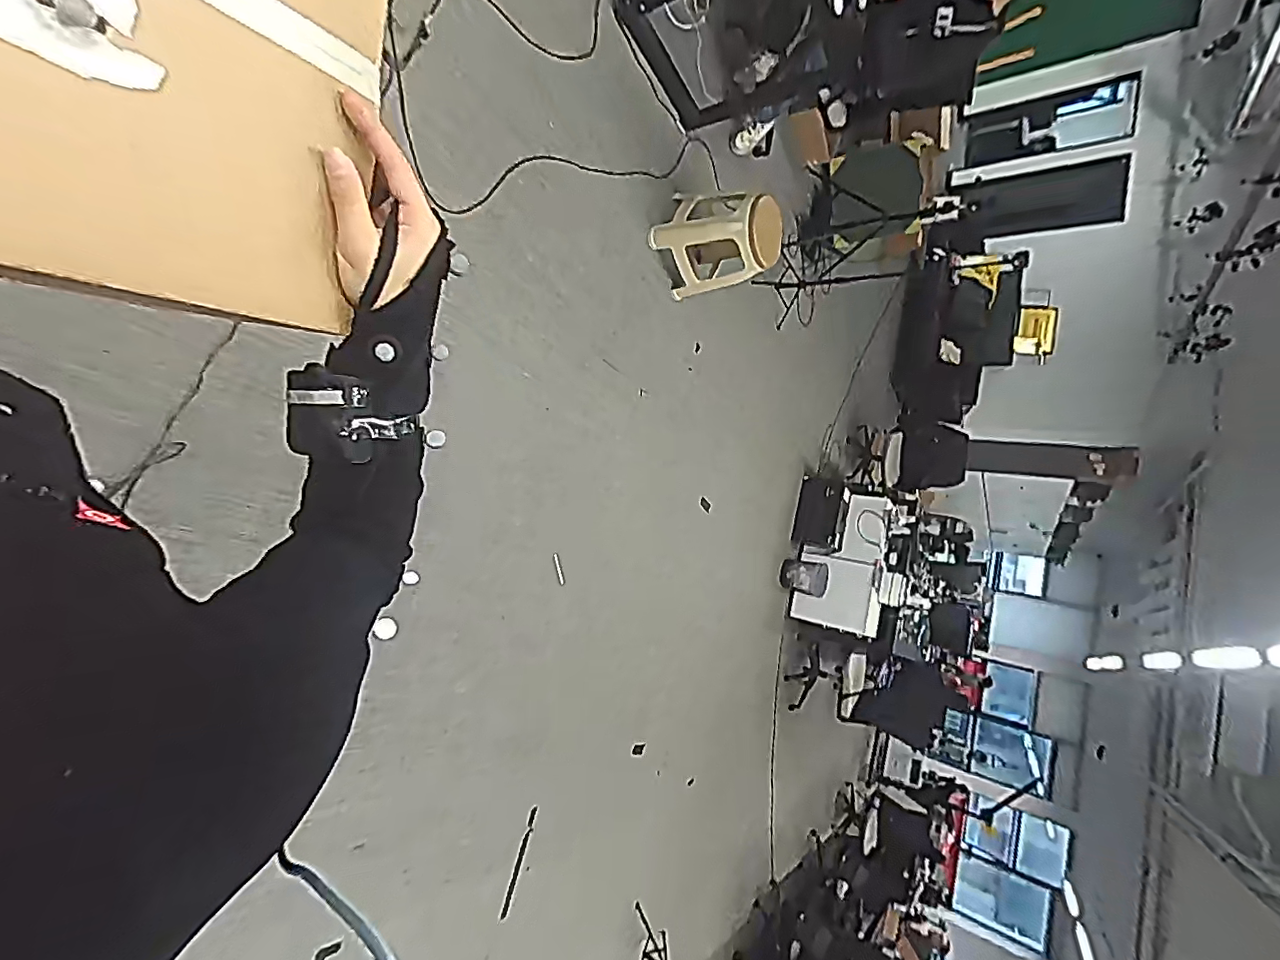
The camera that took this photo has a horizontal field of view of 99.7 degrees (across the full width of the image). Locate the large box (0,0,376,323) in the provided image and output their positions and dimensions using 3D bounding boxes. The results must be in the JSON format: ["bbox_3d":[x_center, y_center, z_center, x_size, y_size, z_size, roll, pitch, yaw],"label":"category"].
[{"bbox_3d":[-0.412,-0.280,0.266,0.408,0.320,0.320,-3,106,-57],"label":"large box"}]
